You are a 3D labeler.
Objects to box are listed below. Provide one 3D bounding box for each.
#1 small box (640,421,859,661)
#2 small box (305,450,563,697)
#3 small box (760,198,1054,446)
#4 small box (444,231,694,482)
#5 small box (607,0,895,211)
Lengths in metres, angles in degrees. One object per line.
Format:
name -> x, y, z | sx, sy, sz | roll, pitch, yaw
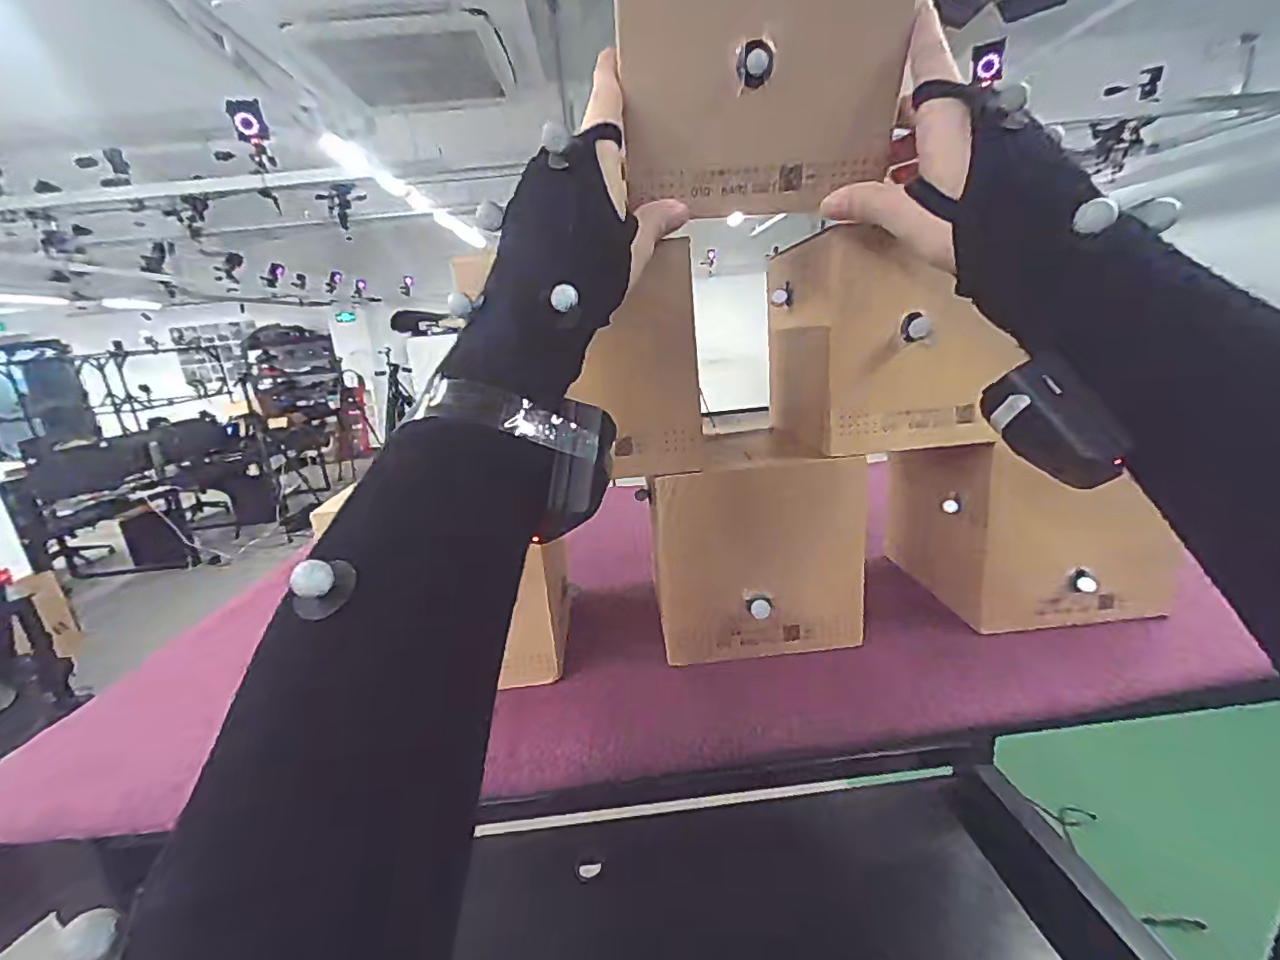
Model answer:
small box -> 0.087, 0.045, 0.508 | 0.168, 0.176, 0.179 | -6, 16, -2
small box -> -0.164, 0.070, 0.495 | 0.168, 0.176, 0.179 | -6, 14, -3
small box -> 0.209, -0.124, 0.468 | 0.168, 0.176, 0.179 | -6, 14, -1
small box -> -0.048, -0.102, 0.464 | 0.168, 0.176, 0.179 | -6, 15, 0
small box -> 0.064, -0.289, 0.377 | 0.168, 0.176, 0.179 | -2, 34, 1
